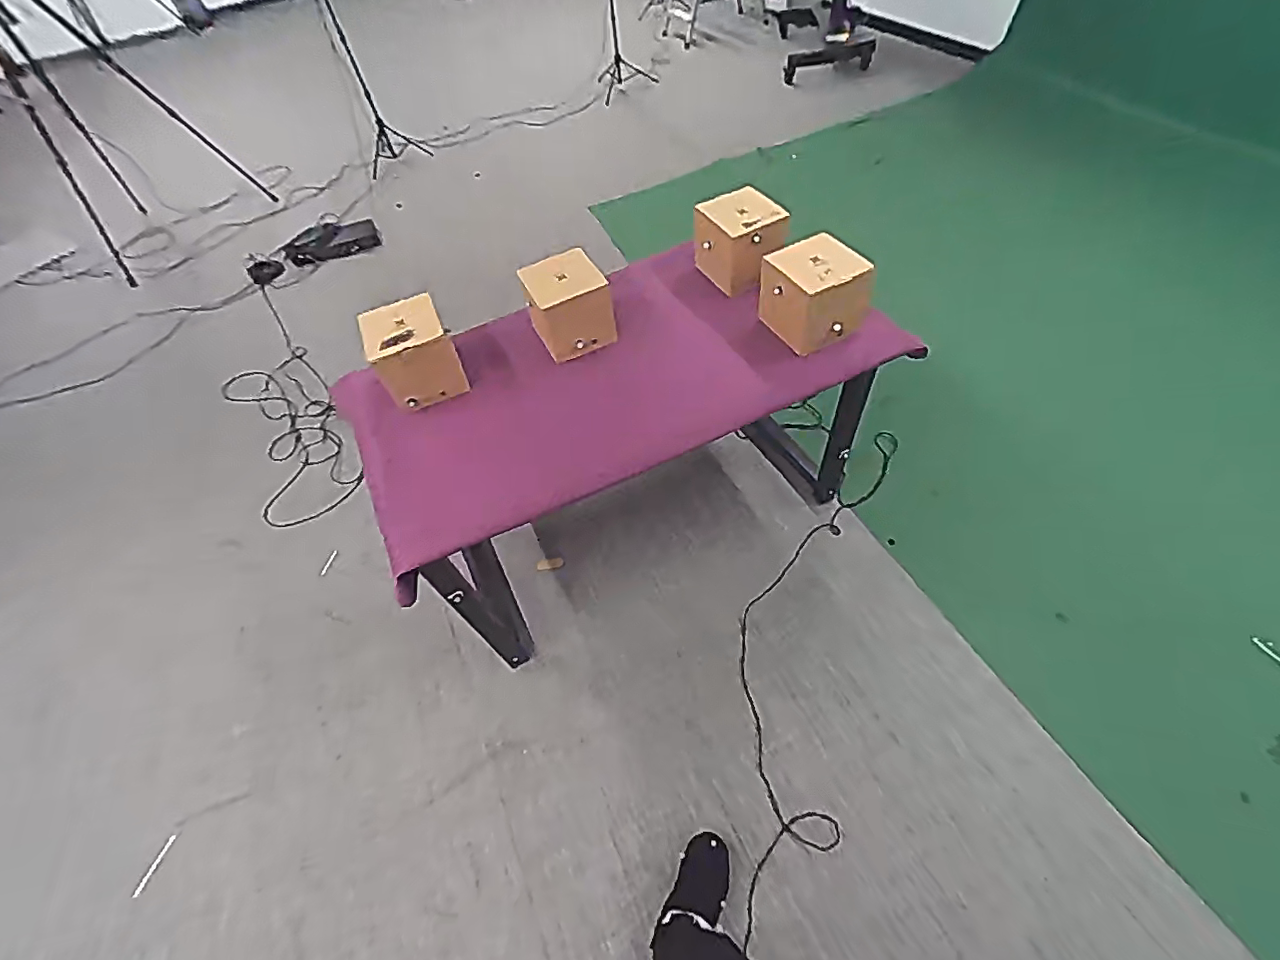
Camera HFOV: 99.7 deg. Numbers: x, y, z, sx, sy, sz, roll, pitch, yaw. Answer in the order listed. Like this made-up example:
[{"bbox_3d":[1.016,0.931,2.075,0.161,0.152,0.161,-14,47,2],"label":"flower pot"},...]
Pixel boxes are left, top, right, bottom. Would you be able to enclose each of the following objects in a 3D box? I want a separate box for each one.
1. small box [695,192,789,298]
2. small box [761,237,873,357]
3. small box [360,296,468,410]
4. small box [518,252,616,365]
[{"bbox_3d":[0.253,-0.597,1.381,0.168,0.176,0.179,-26,55,-11],"label":"small box"},{"bbox_3d":[0.389,-0.412,1.226,0.168,0.176,0.179,-25,54,-9],"label":"small box"},{"bbox_3d":[-0.514,-0.284,1.244,0.168,0.176,0.179,-23,56,-11],"label":"small box"},{"bbox_3d":[-0.172,-0.409,1.299,0.168,0.176,0.179,-25,56,-10],"label":"small box"}]
